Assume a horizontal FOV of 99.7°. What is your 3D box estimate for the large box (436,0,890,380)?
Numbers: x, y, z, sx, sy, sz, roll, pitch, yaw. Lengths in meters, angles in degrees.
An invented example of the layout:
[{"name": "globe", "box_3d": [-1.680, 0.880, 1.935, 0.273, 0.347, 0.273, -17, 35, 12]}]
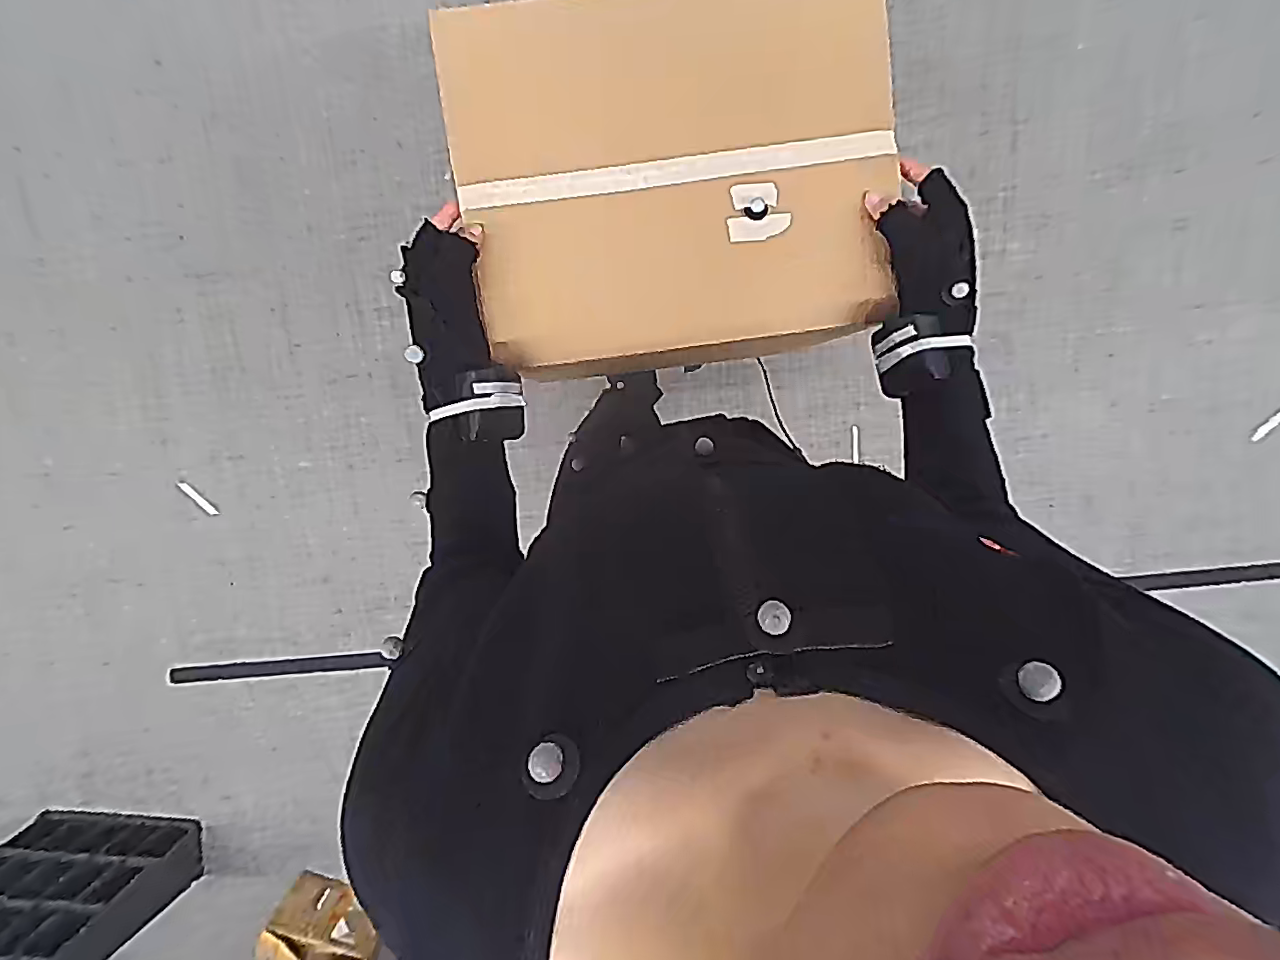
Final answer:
[{"name": "large box", "box_3d": [0.024, -0.312, 0.658, 0.408, 0.320, 0.320, -8, 98, -1]}]
